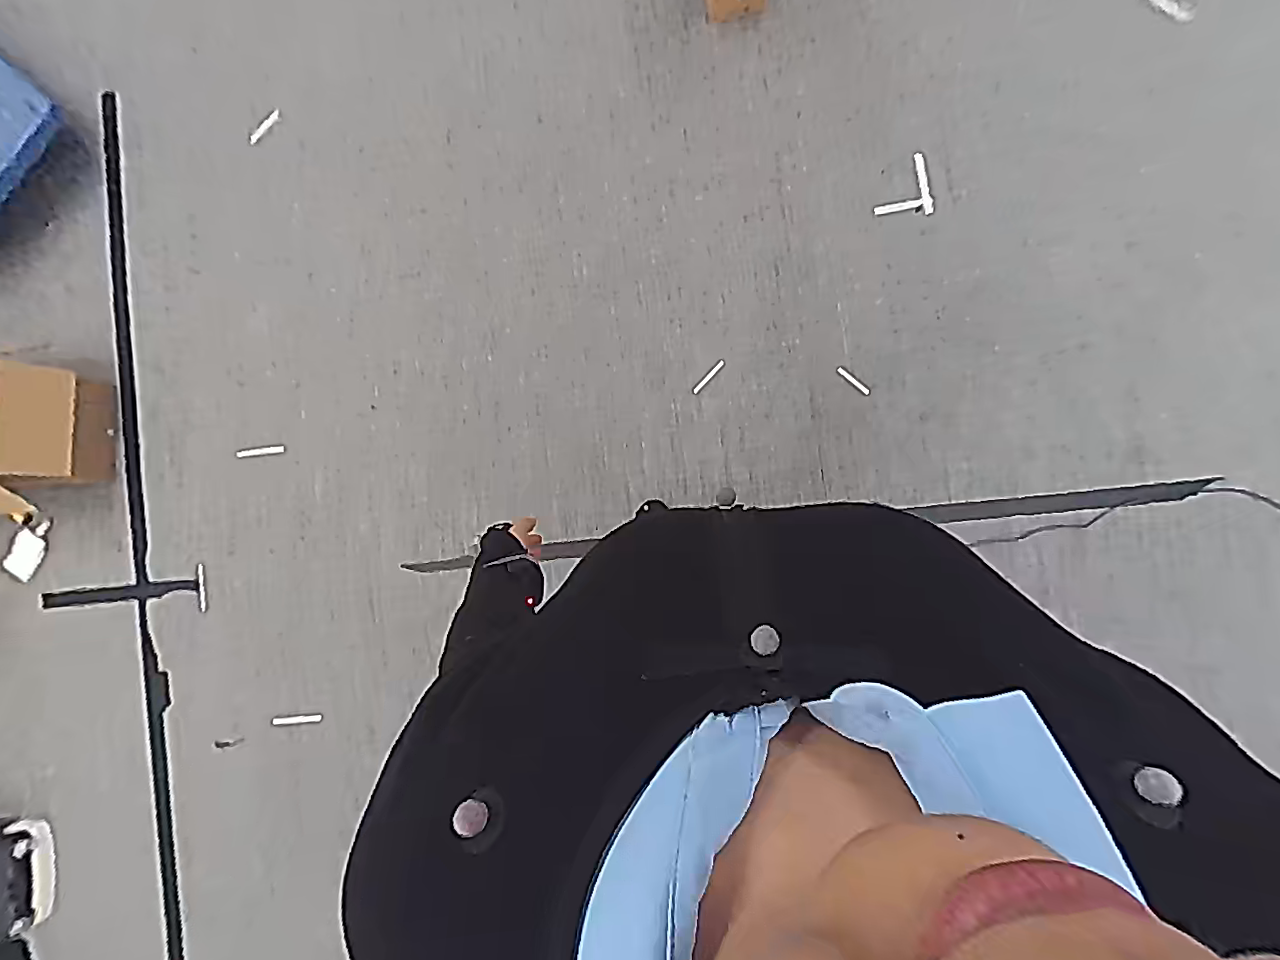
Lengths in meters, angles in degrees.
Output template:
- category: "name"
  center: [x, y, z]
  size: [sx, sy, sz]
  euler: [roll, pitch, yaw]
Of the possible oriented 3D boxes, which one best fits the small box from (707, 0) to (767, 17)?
- category: "small box"
  center: [0.265, -1.423, 1.483]
  size: [0.168, 0.176, 0.179]
  euler: [-11, 86, 4]
